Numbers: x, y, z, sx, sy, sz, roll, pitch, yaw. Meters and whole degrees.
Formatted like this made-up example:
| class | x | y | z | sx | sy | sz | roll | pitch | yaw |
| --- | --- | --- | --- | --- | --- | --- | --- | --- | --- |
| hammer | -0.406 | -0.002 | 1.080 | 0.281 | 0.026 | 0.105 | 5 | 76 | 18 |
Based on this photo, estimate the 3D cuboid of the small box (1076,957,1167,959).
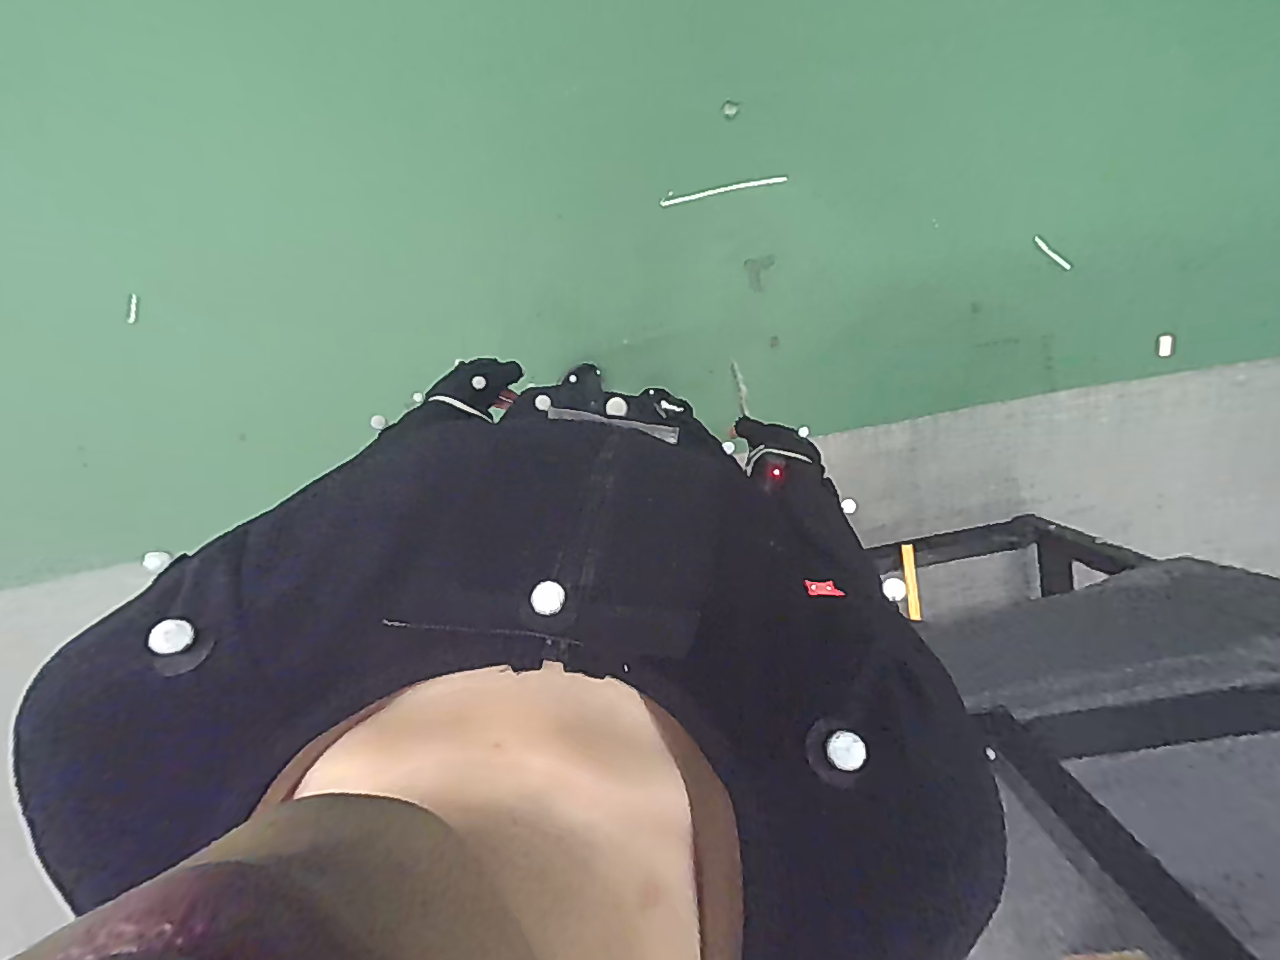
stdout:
| class | x | y | z | sx | sy | sz | roll | pitch | yaw |
| --- | --- | --- | --- | --- | --- | --- | --- | --- | --- |
| small box | 0.742 | 0.820 | 0.761 | 0.168 | 0.176 | 0.179 | -8 | 99 | 5 |
